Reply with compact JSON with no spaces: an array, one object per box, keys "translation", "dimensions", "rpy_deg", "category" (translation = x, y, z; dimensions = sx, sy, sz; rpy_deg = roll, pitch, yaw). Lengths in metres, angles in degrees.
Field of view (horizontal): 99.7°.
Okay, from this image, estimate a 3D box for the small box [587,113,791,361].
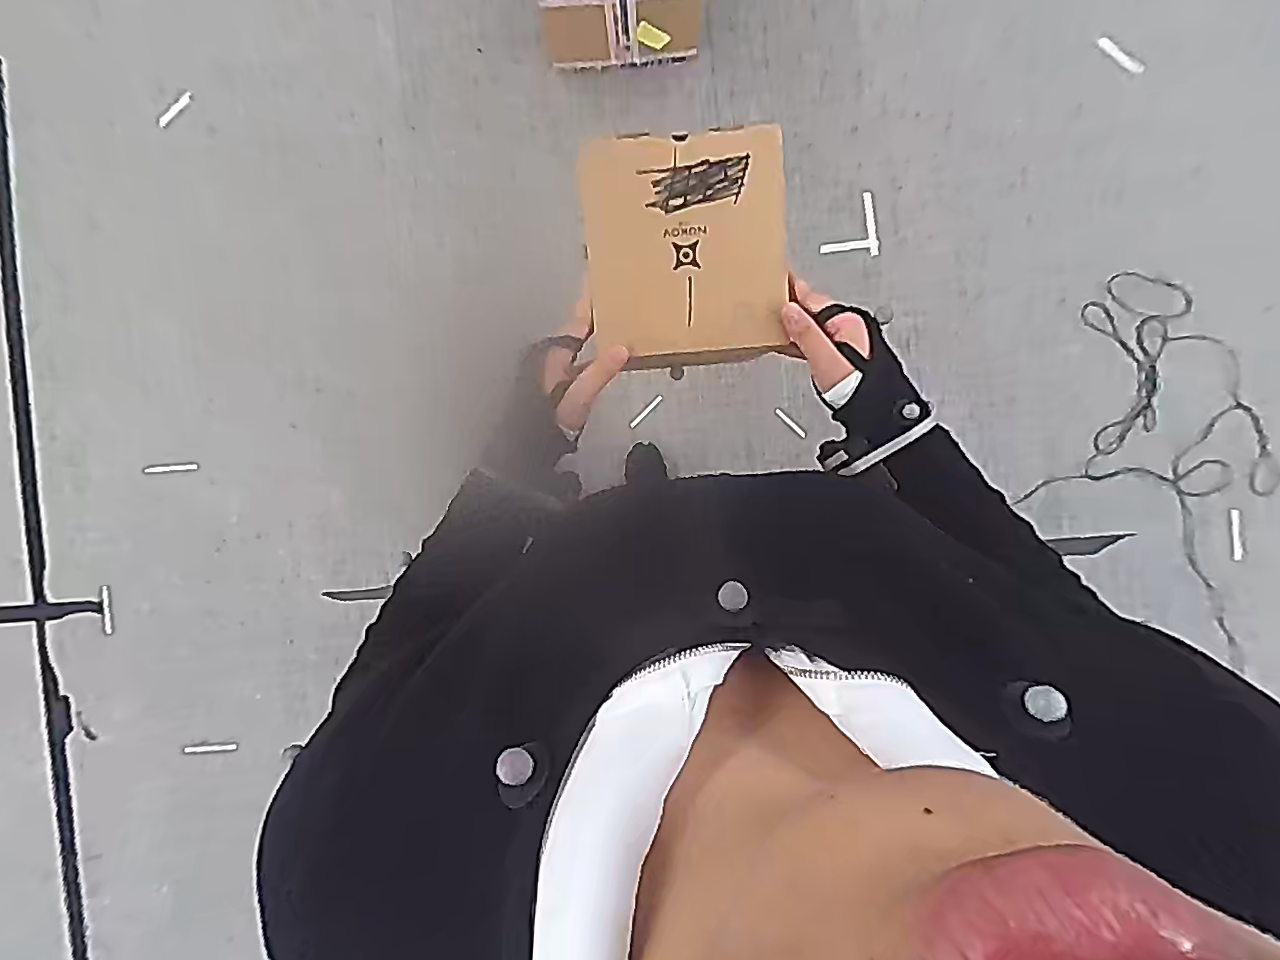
[{"translation":[0.040,-0.215,0.523],"dimensions":[0.168,0.176,0.179],"rpy_deg":[-4,98,0],"category":"small box"}]
